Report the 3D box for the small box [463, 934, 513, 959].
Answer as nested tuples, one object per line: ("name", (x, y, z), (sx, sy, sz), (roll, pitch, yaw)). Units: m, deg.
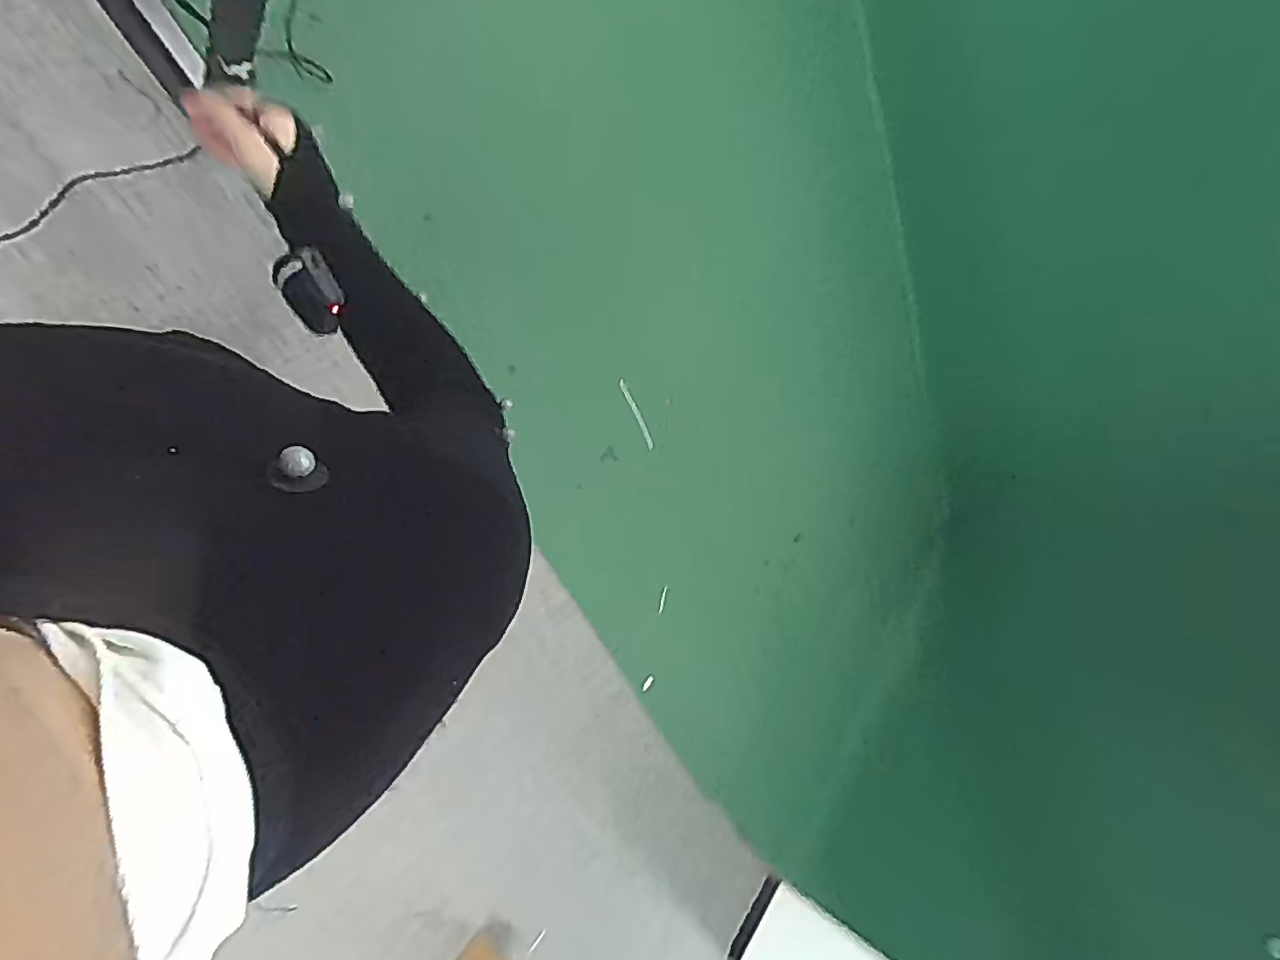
("small box", (-0.526, 1.735, 1.865), (0.179, 0.176, 0.168), (-43, 121, -28))
